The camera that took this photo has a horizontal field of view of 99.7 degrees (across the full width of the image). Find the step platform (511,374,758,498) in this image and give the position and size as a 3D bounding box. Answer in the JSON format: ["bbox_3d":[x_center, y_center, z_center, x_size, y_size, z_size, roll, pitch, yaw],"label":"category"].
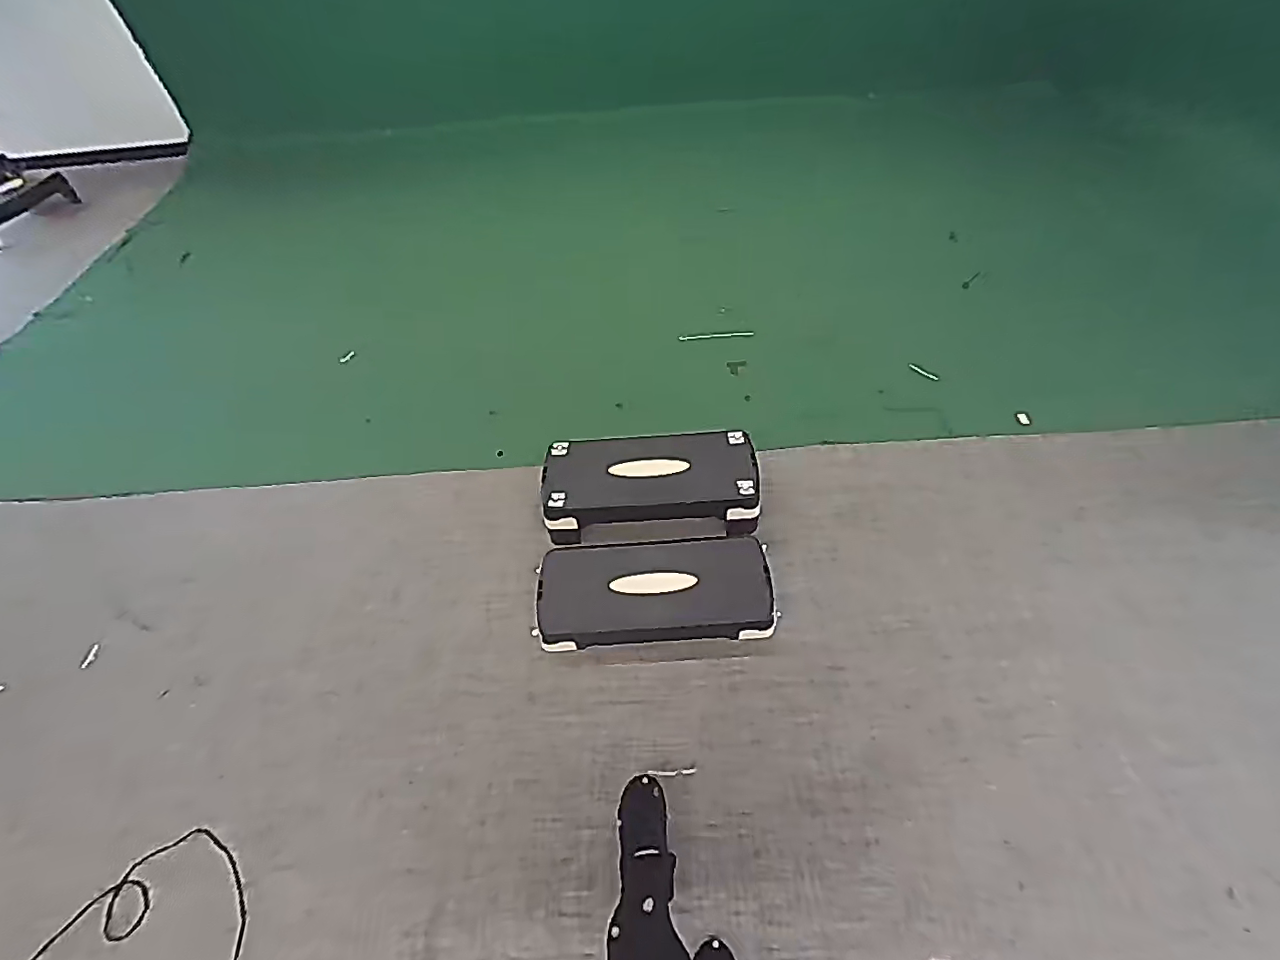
[{"bbox_3d":[-0.013,-0.125,1.576,0.684,0.204,0.286,-4,53,2],"label":"step platform"}]
